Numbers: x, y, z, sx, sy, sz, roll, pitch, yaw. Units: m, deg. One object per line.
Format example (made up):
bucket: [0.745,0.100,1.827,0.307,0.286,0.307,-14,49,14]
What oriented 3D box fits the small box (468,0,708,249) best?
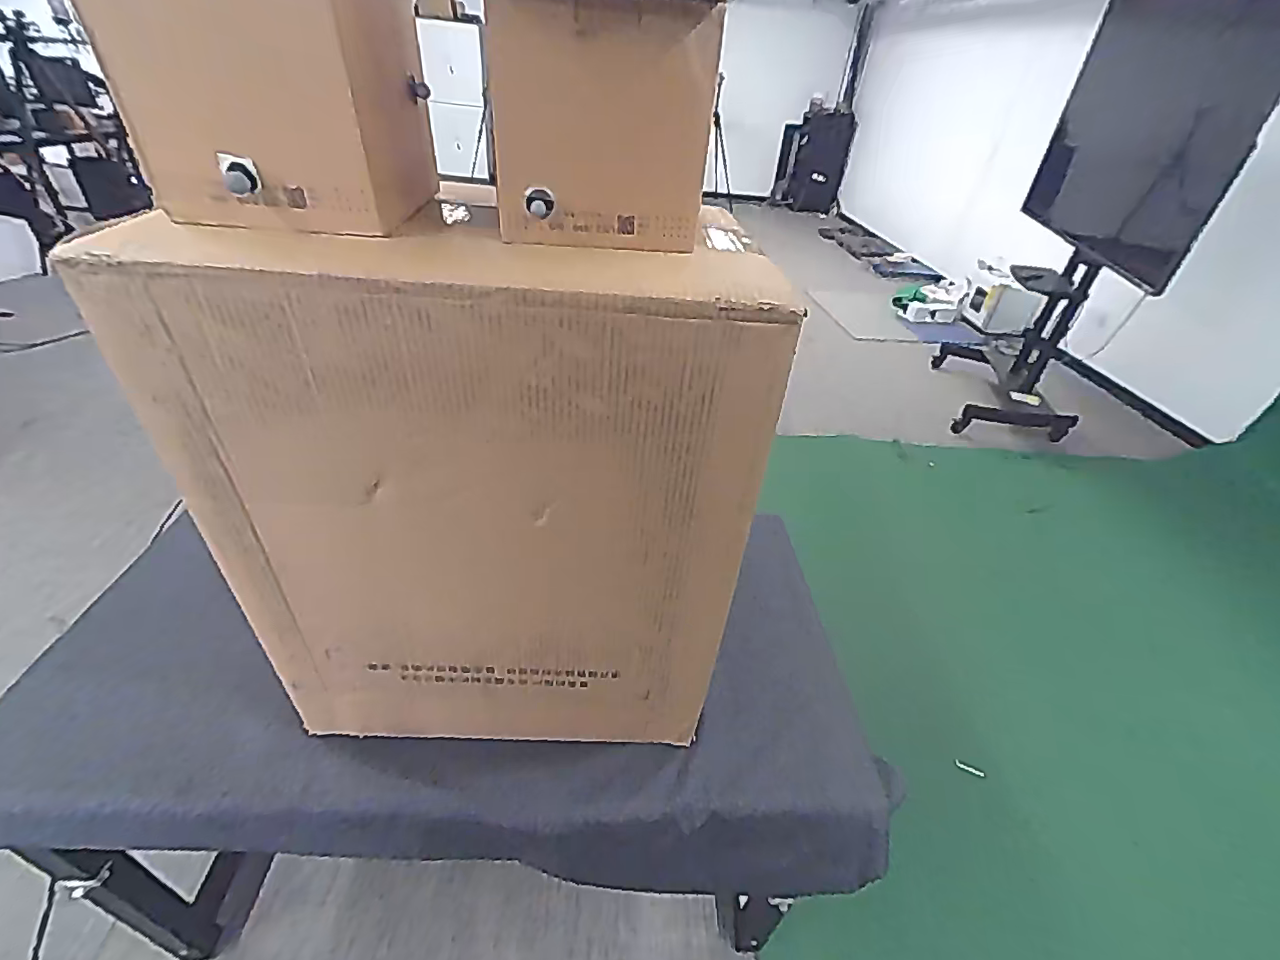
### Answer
small box: [-0.045,-0.311,0.473,0.168,0.176,0.179,-1,38,-8]

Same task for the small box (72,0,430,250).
small box: [-0.285,-0.303,0.443,0.168,0.176,0.179,0,40,-3]
